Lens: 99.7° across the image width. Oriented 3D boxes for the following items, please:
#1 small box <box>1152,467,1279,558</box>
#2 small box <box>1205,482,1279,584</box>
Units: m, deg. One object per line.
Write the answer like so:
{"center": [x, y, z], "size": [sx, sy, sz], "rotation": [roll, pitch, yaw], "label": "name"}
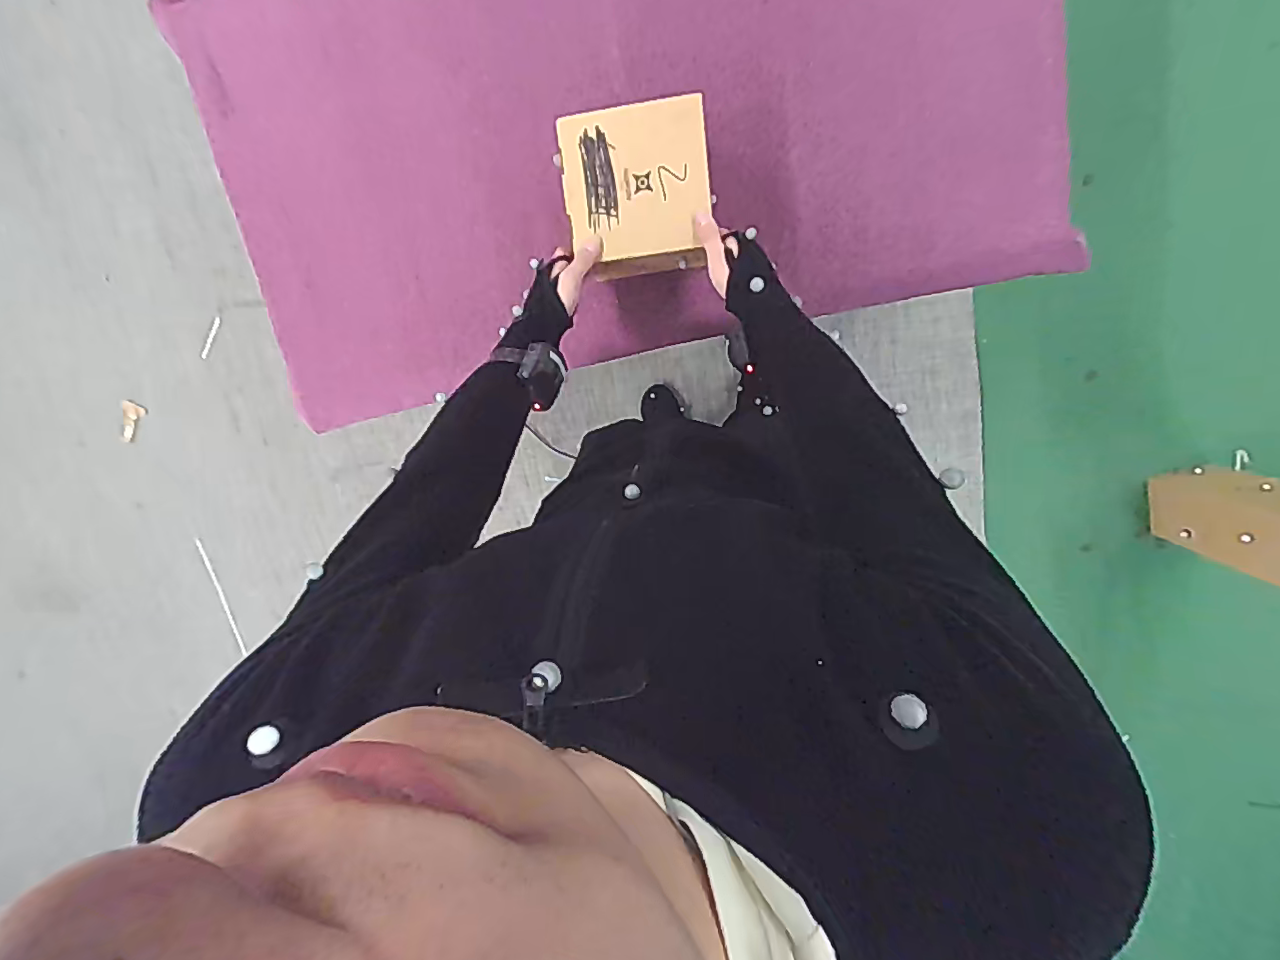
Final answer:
{"center": [1.507, 0.081, 1.426], "size": [0.168, 0.176, 0.179], "rotation": [-13, 102, 9], "label": "small box"}
{"center": [1.491, 0.120, 1.269], "size": [0.168, 0.176, 0.179], "rotation": [-12, 102, 9], "label": "small box"}
